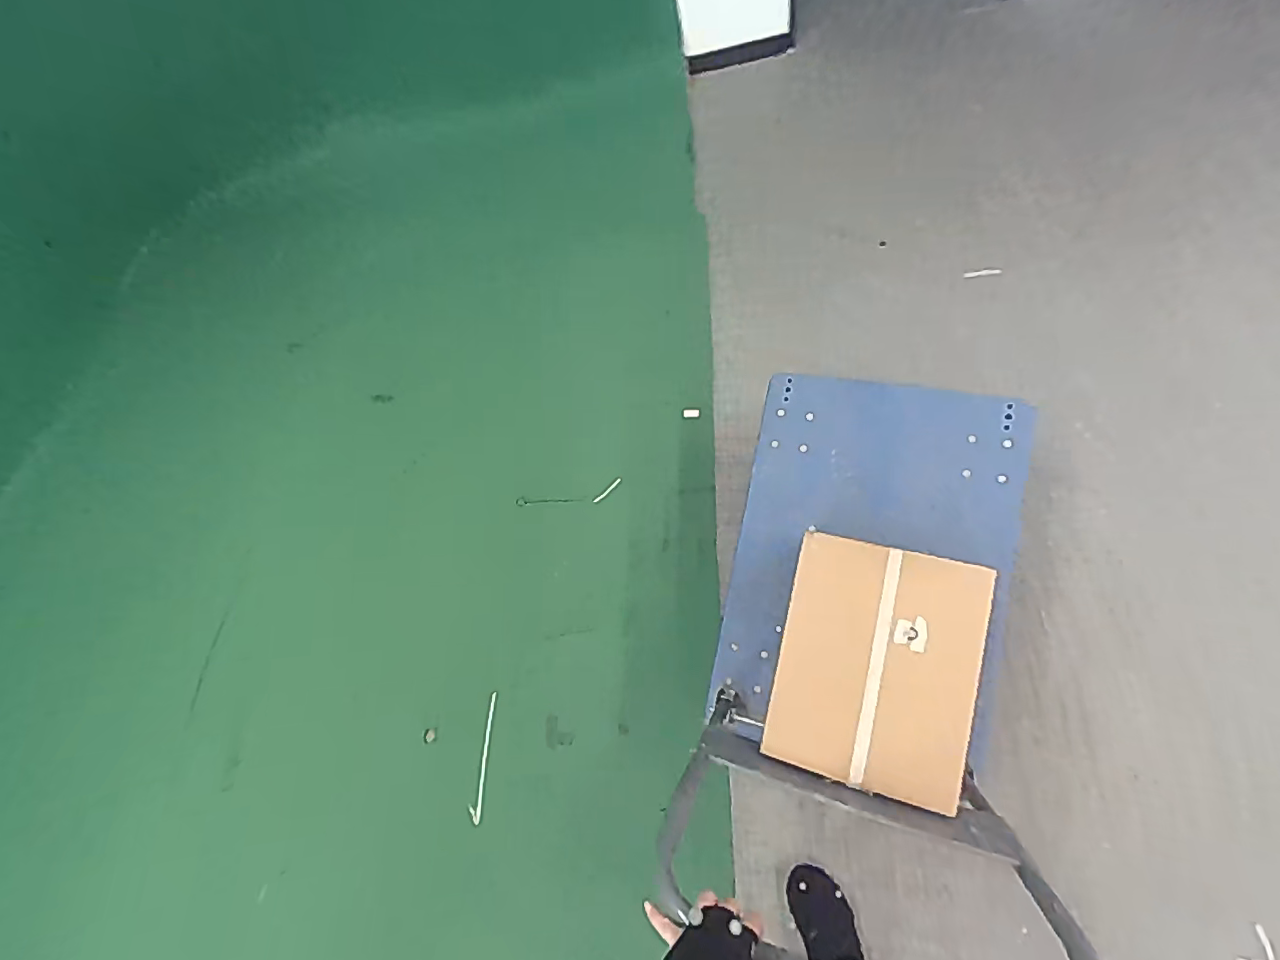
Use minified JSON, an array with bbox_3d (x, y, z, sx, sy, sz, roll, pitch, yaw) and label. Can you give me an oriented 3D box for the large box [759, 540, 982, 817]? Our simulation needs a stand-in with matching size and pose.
[{"bbox_3d":[0.441,0.359,1.082,0.320,0.320,0.408,12,83,18],"label":"large box"}]
